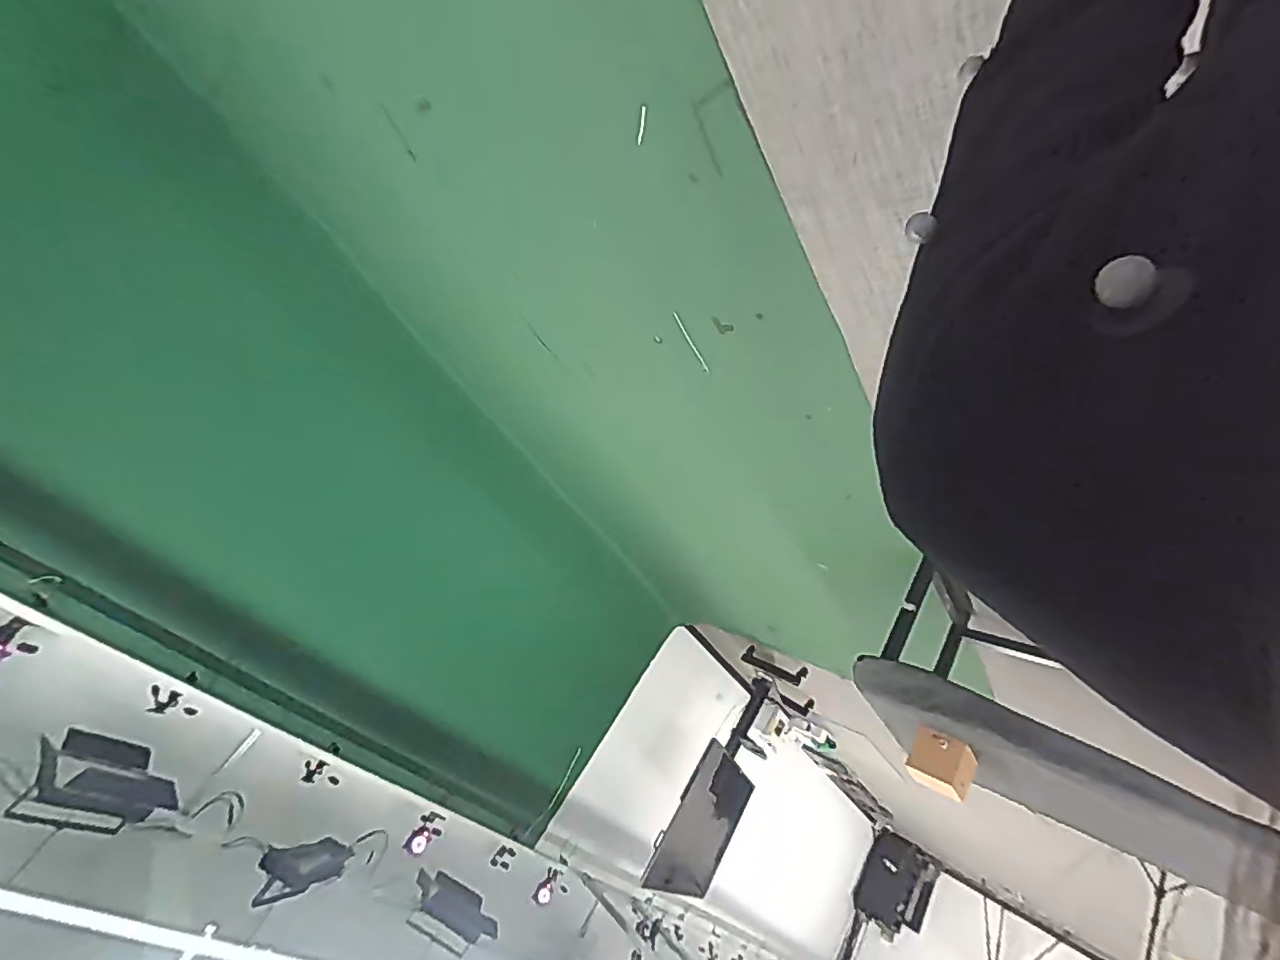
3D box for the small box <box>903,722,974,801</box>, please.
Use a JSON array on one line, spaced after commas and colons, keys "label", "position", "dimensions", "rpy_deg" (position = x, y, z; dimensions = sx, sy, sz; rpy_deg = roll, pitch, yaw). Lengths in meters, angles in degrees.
[{"label": "small box", "position": [1.094, 1.023, 1.974], "dimensions": [0.168, 0.176, 0.179], "rpy_deg": [5, 142, 49]}]
